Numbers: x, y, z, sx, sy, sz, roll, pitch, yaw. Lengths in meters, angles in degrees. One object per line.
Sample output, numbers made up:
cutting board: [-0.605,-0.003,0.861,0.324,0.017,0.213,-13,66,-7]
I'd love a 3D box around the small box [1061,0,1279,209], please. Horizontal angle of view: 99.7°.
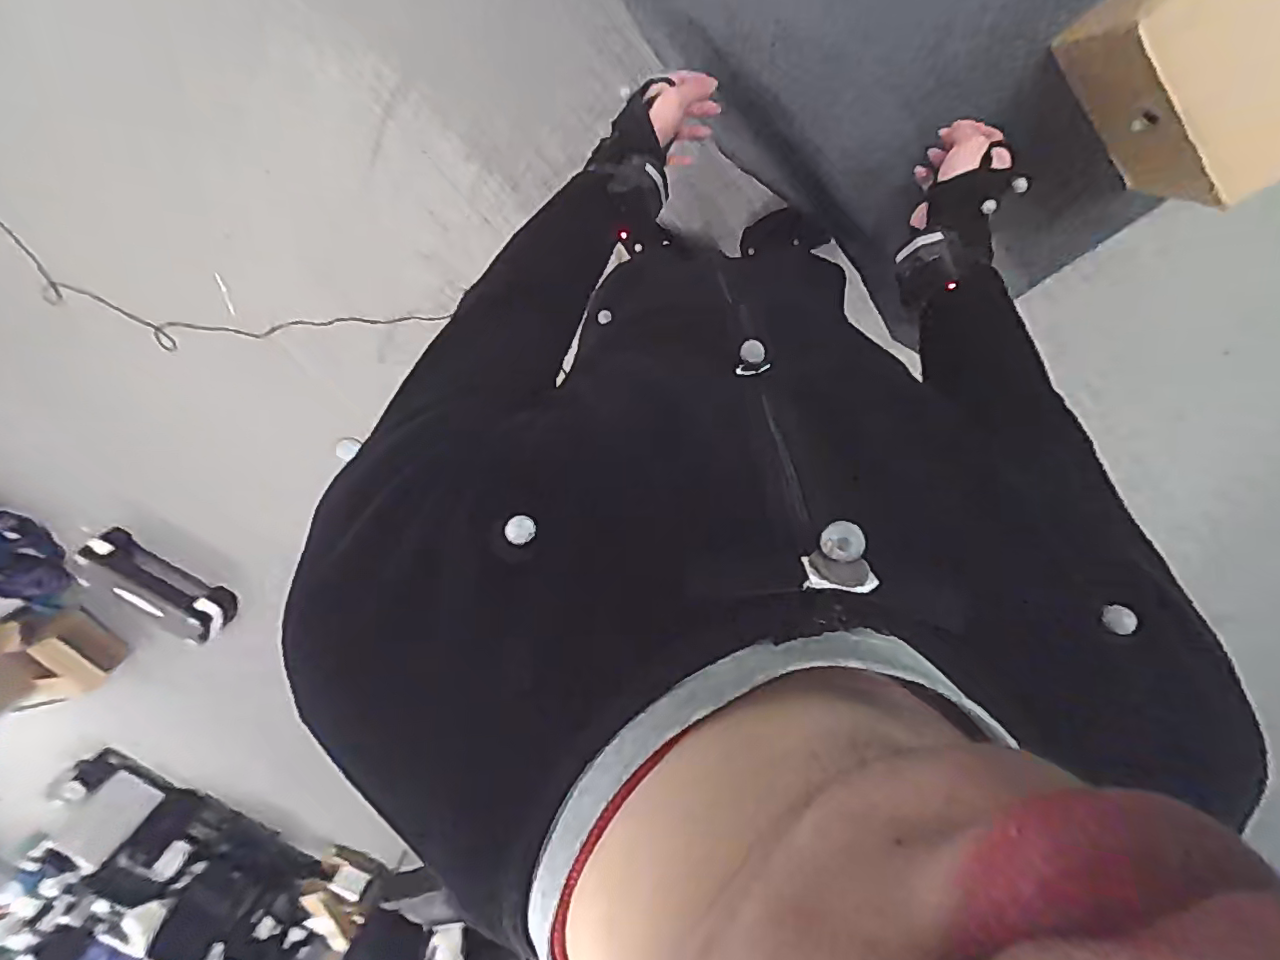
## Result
small box: [0.494,-0.358,0.440,0.168,0.176,0.179,-35,108,33]
